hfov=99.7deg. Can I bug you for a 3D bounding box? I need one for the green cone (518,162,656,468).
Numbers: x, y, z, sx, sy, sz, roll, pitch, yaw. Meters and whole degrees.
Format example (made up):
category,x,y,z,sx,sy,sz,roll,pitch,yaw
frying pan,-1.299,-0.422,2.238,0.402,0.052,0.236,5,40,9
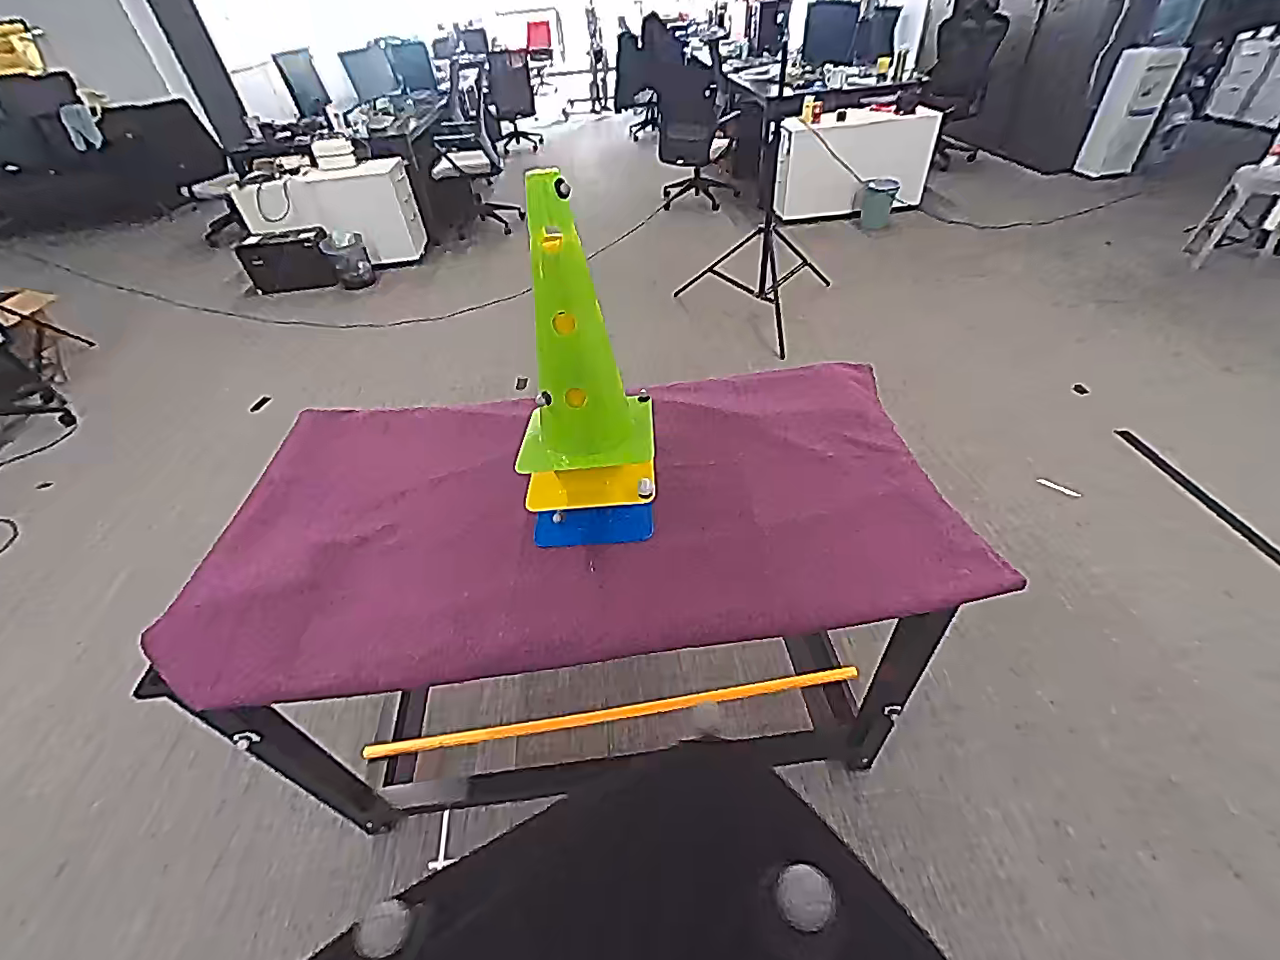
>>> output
category,x,y,z,sx,sy,sz,roll,pitch,yaw
green cone,-0.098,-0.220,0.732,0.200,0.368,0.202,-6,36,3
